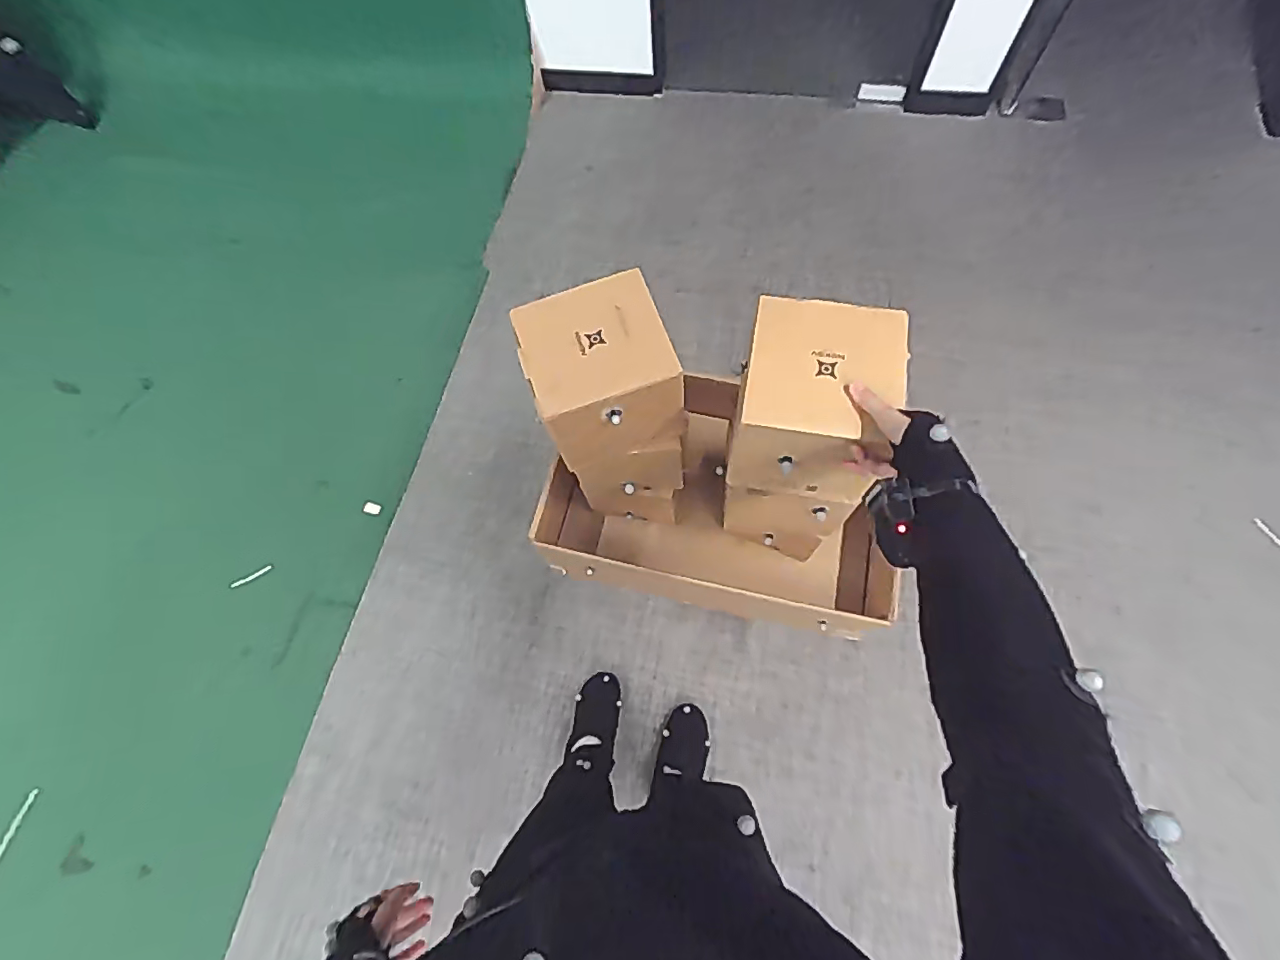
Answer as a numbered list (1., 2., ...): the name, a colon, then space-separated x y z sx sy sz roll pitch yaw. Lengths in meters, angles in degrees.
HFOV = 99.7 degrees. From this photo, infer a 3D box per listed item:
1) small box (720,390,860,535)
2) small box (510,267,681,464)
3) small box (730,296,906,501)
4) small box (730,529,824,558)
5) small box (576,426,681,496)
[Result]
1. small box: 0.218 -0.020 0.822 0.179 0.176 0.168 3 67 7
2. small box: -0.050 -0.140 0.717 0.179 0.176 0.168 -18 69 -2
3. small box: 0.204 -0.090 0.653 0.168 0.176 0.179 9 66 8
4. small box: 0.257 0.024 0.979 0.168 0.176 0.179 21 72 12
5. small box: -0.022 -0.088 0.870 0.168 0.176 0.179 -5 69 4
